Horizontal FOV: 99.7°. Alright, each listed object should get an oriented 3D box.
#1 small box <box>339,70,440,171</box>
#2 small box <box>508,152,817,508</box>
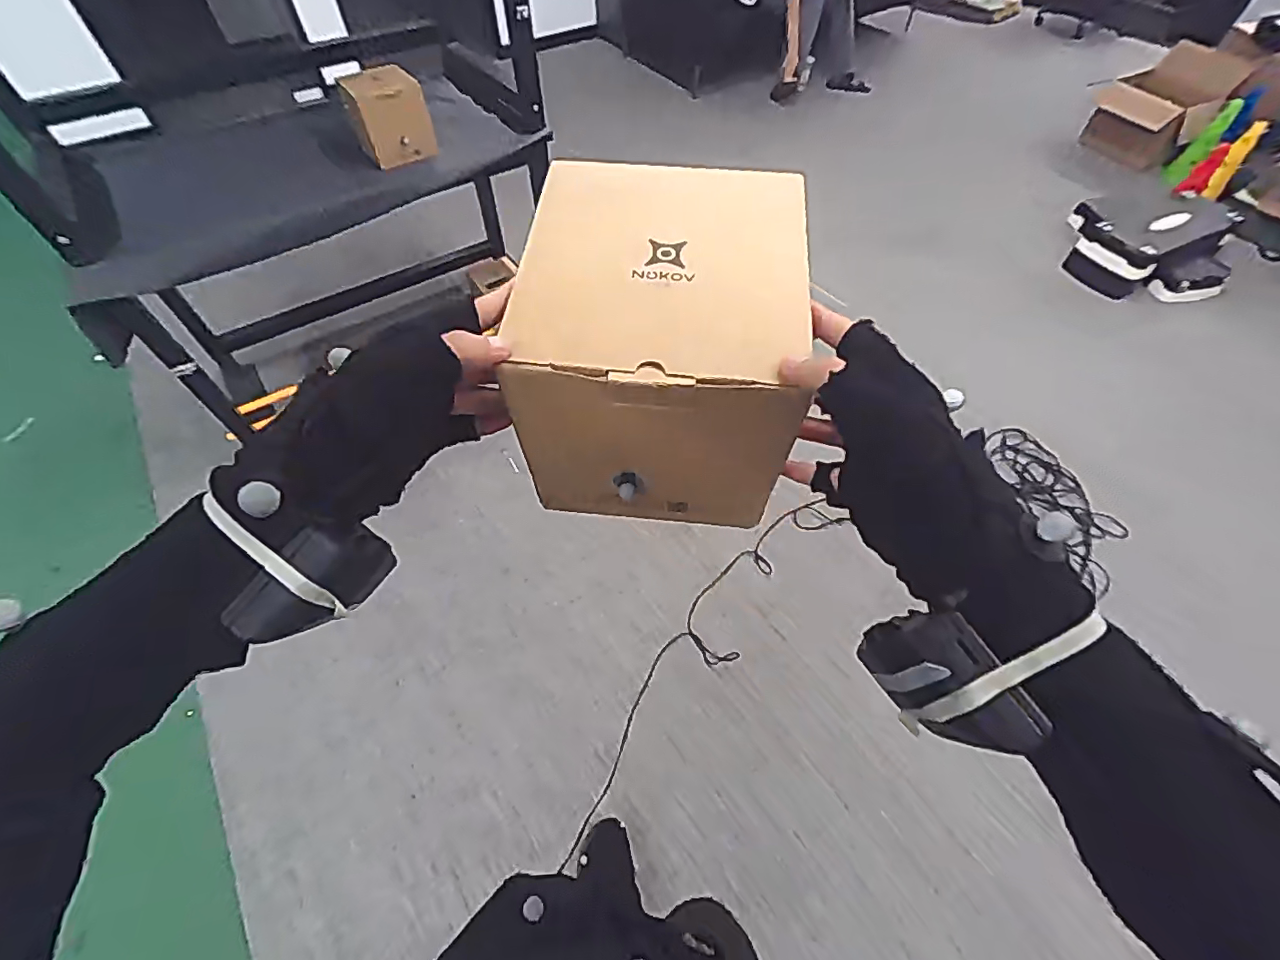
[{"bbox_3d":[-0.666,-0.963,1.451,0.168,0.176,0.179,-31,60,-19],"label":"small box"},{"bbox_3d":[0.018,-0.099,0.390,0.168,0.176,0.179,4,61,3],"label":"small box"}]
